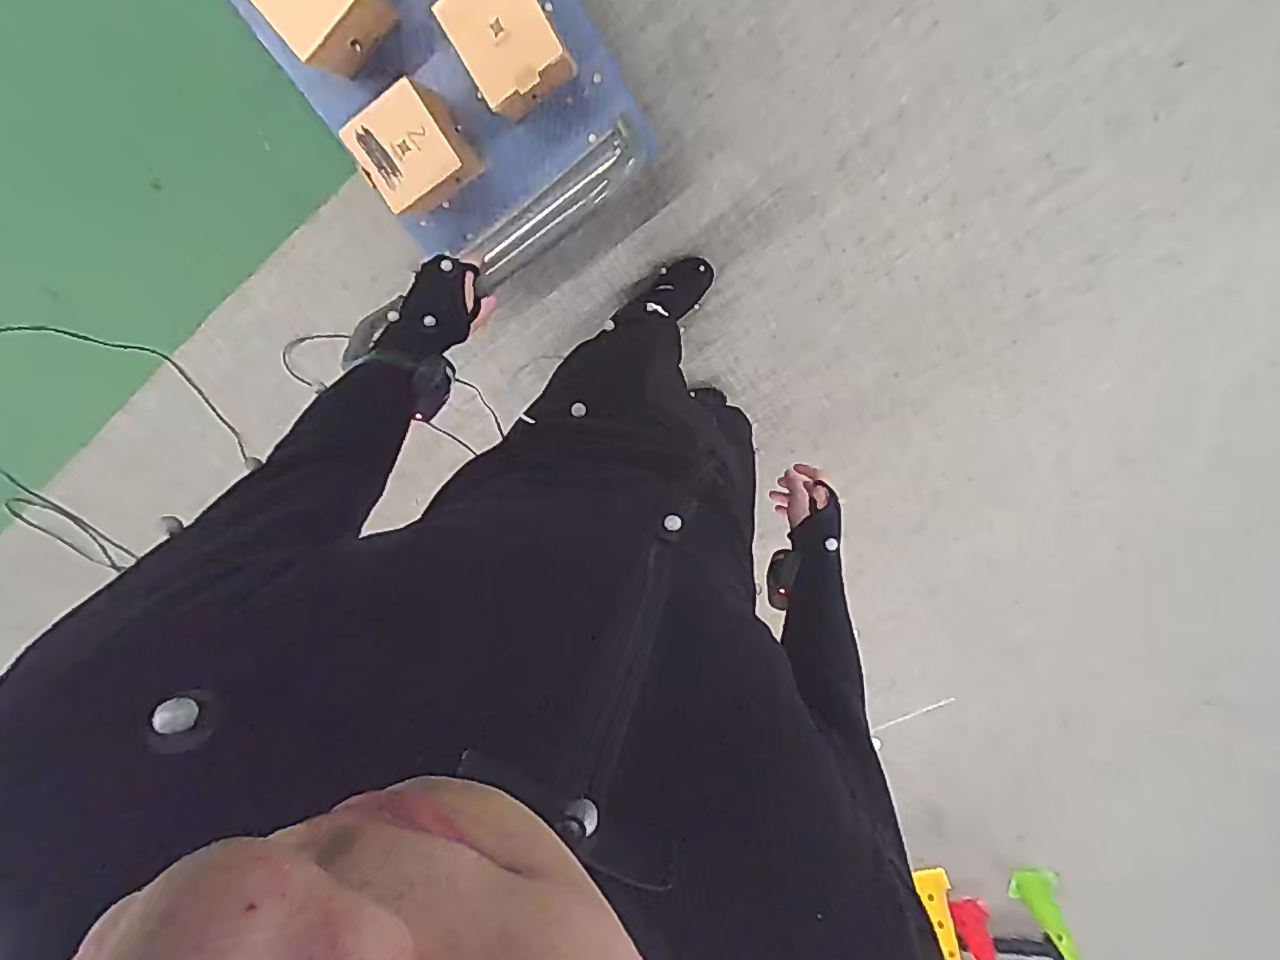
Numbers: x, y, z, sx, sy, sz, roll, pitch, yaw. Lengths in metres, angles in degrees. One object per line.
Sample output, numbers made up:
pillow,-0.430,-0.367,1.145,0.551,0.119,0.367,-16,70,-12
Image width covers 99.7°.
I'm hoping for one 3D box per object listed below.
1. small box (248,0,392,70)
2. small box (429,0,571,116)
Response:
small box,-0.590,-0.885,0.976,0.168,0.176,0.179,-33,113,17
small box,-0.248,-0.818,1.005,0.168,0.176,0.179,-28,115,15
